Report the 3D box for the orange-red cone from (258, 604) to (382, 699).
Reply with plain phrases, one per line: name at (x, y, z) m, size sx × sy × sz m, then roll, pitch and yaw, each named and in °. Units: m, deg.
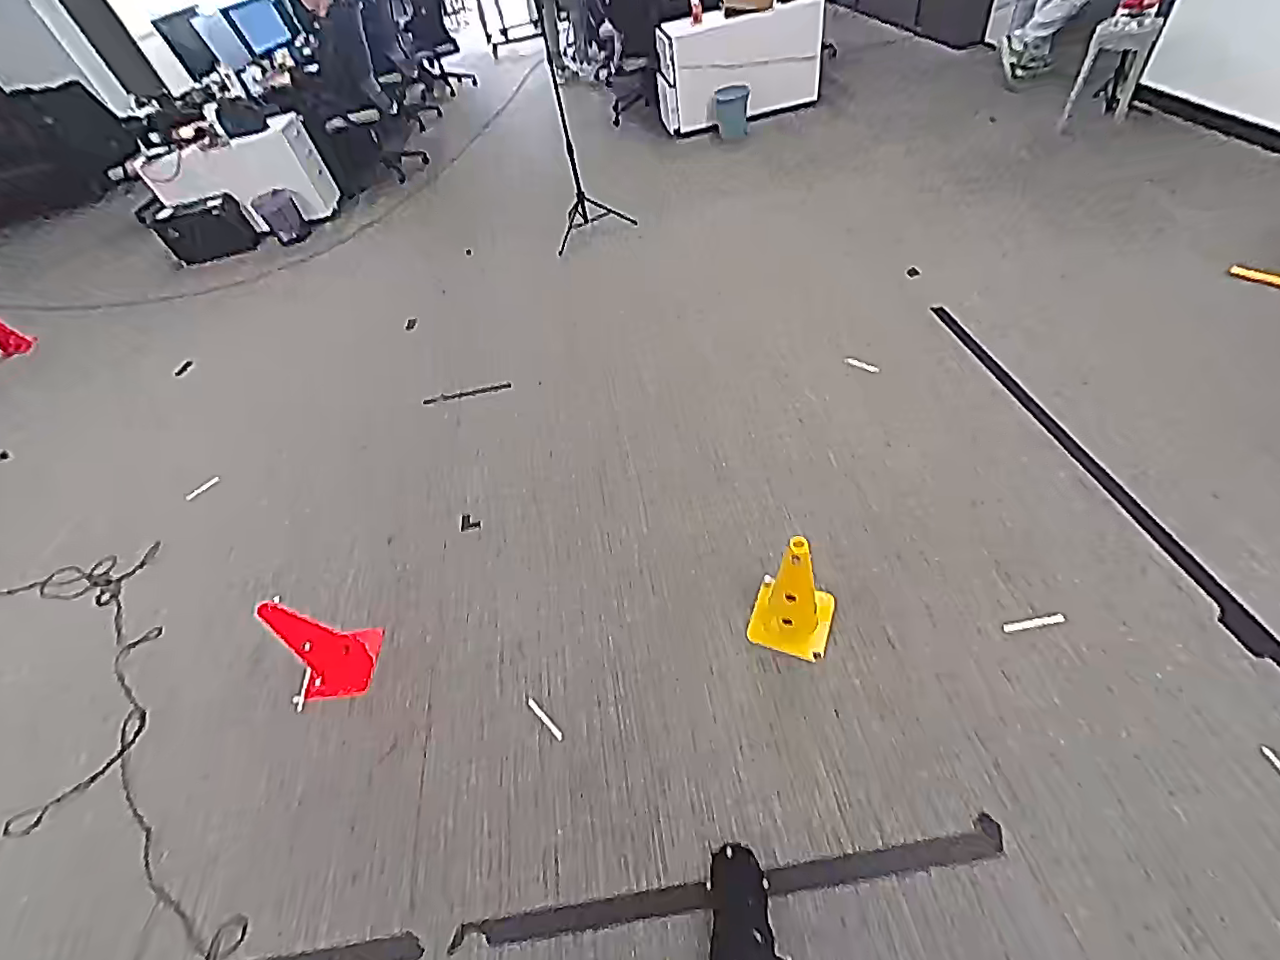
orange-red cone at (-0.899, 0.433, 1.467) m, size 0.199 × 0.360 × 0.198 m, roll -6°, pitch 49°, yaw 6°
